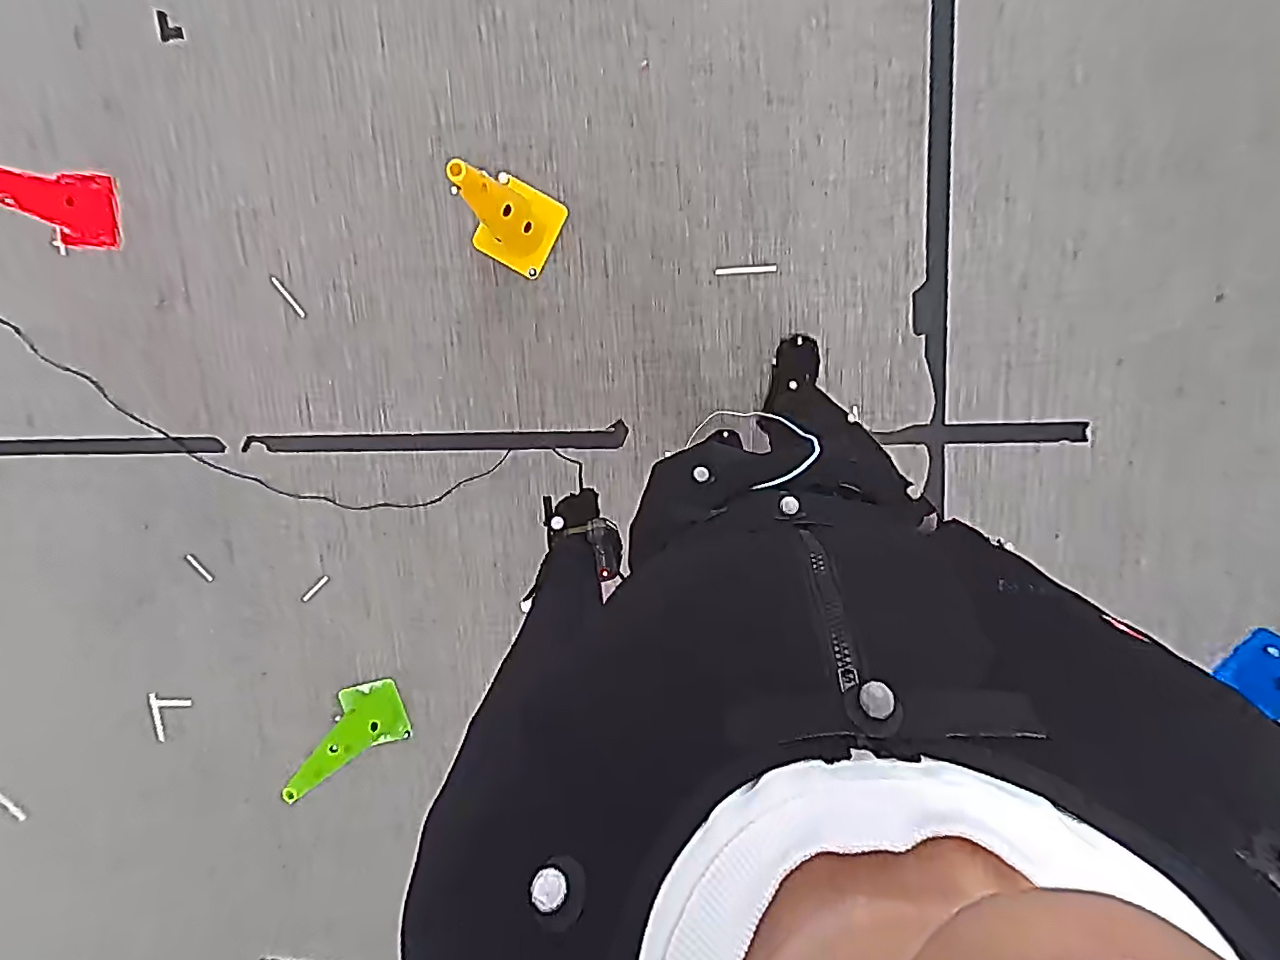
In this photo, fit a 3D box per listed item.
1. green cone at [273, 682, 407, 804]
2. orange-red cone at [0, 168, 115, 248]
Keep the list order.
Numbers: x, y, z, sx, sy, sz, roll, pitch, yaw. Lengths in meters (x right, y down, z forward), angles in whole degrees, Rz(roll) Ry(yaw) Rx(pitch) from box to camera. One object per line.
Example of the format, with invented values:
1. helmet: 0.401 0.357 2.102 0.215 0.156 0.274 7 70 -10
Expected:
1. green cone: -0.860 0.755 1.511 0.202 0.368 0.200 -17 95 11
2. orange-red cone: -1.619 -0.749 1.385 0.199 0.360 0.198 6 100 6
